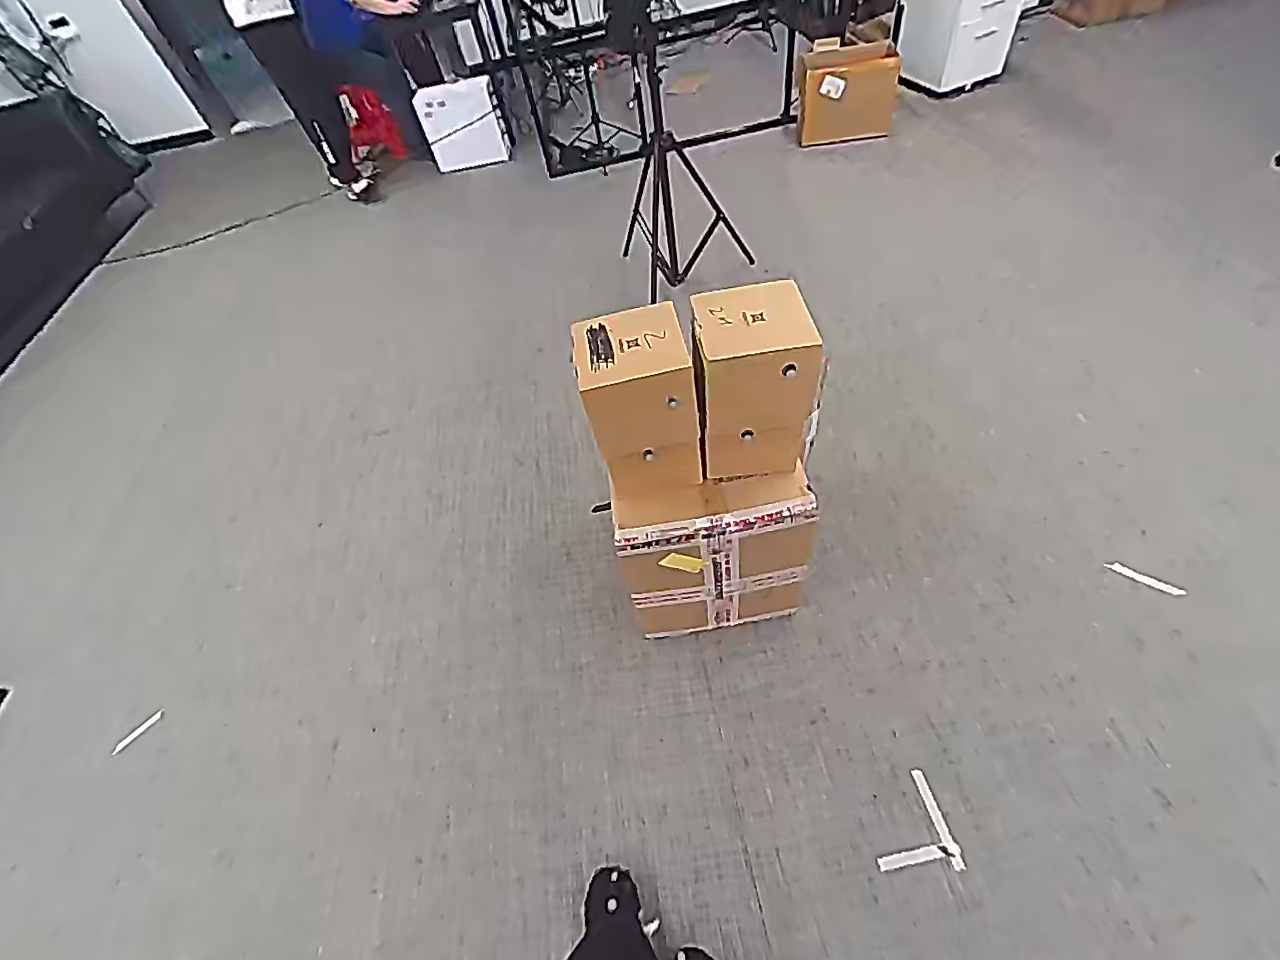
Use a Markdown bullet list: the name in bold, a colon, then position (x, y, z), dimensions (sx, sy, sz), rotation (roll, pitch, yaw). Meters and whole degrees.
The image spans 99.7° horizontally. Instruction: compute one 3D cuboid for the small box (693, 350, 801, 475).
- **small box**: position (0.201, -0.125, 1.045), dimensions (0.179, 0.176, 0.168), rotation (-6, 54, 4)
